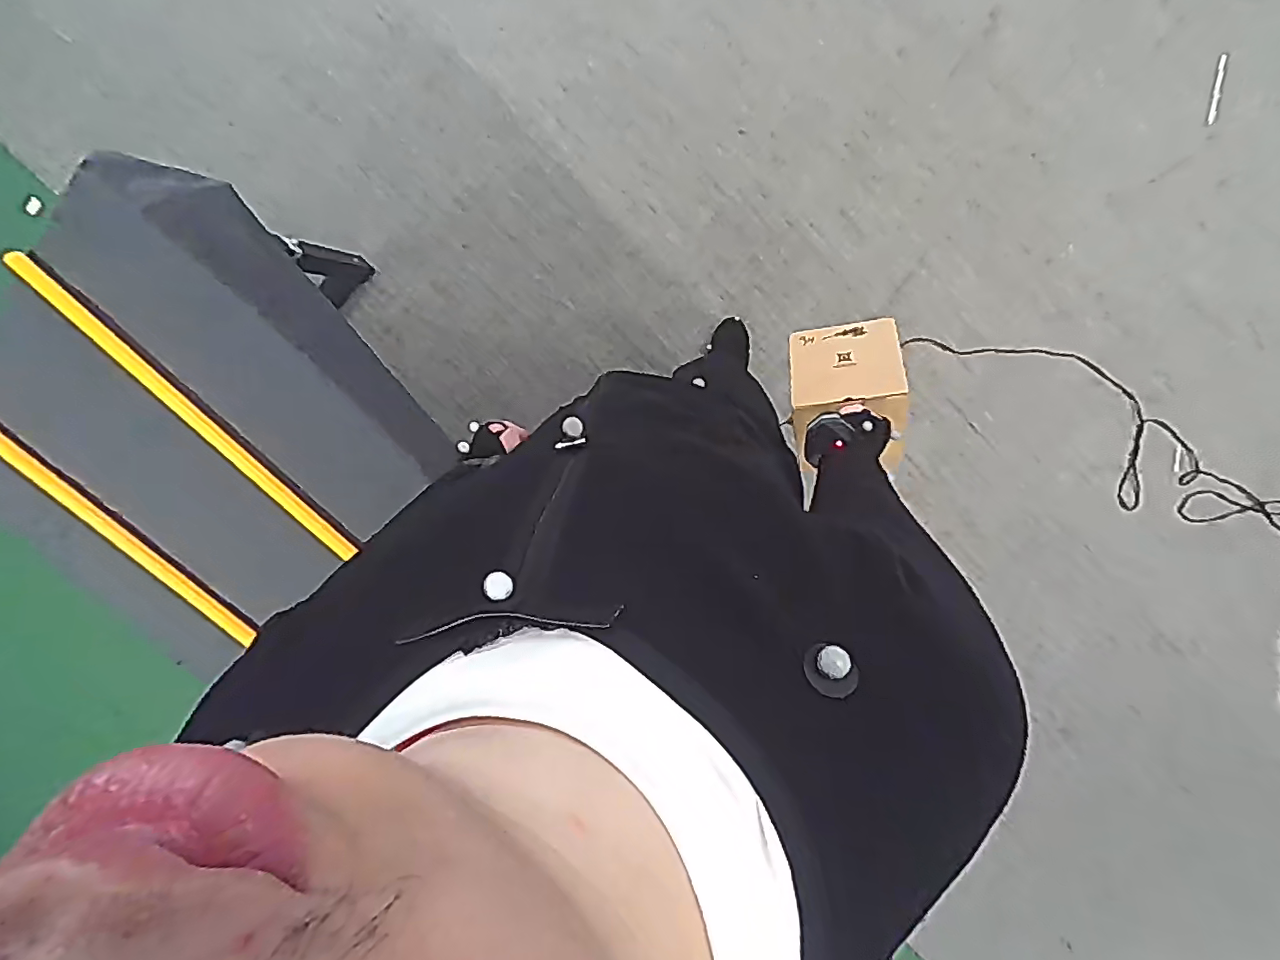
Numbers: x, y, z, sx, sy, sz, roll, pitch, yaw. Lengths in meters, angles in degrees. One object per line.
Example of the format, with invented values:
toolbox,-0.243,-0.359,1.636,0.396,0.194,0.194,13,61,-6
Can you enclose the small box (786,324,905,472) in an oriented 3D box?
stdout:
small box,0.347,-0.127,0.914,0.168,0.179,0.176,-8,141,20
